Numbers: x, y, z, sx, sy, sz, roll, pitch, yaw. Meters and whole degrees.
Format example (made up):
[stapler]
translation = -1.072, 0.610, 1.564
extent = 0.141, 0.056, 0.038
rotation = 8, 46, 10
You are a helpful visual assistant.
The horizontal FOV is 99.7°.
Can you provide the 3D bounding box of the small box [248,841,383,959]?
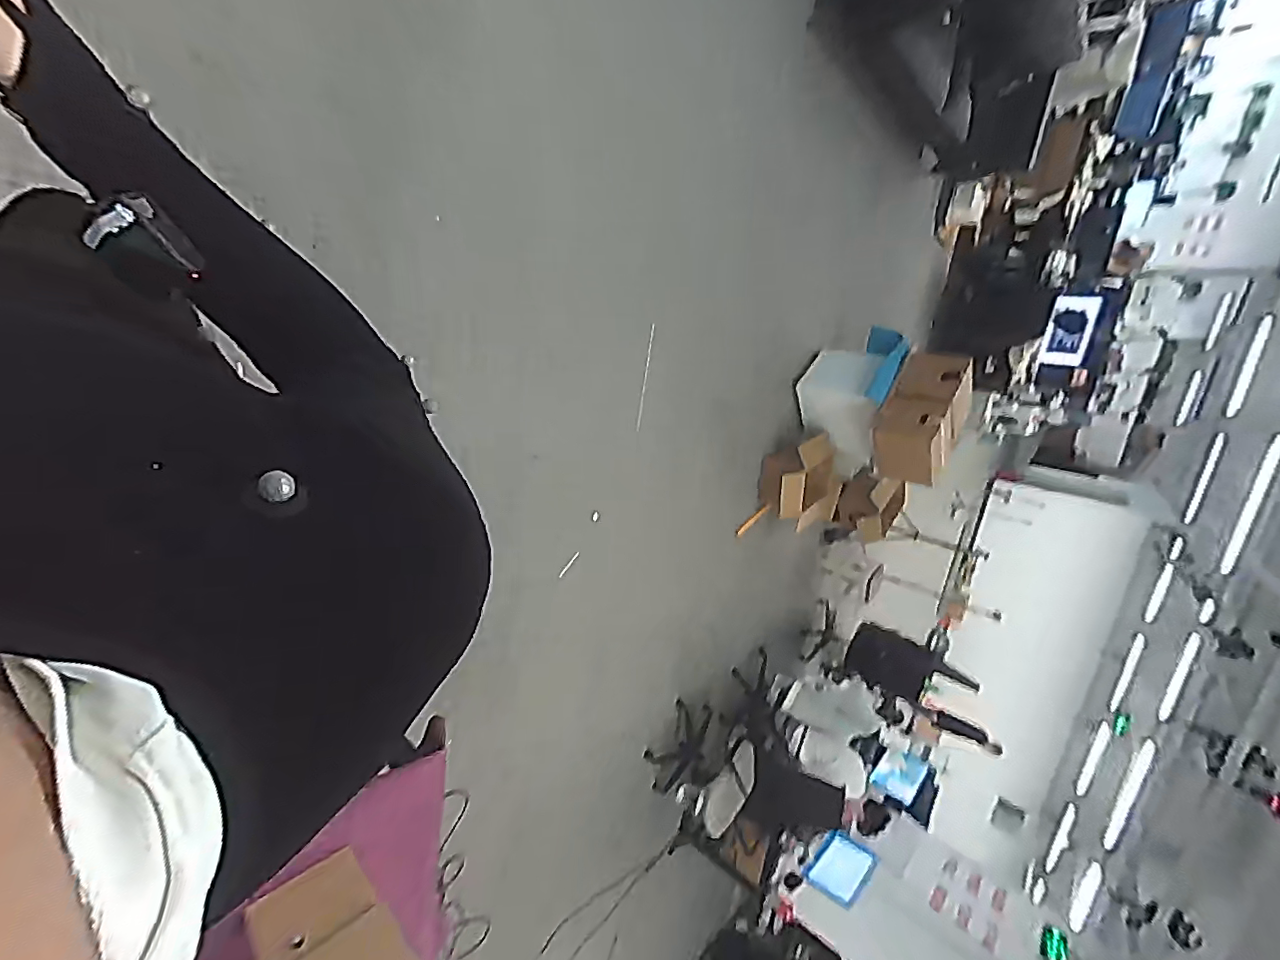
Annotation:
[small box]
translation = -0.605, 0.835, 1.006
extent = 0.179, 0.176, 0.168
rotation = -14, 117, -47
